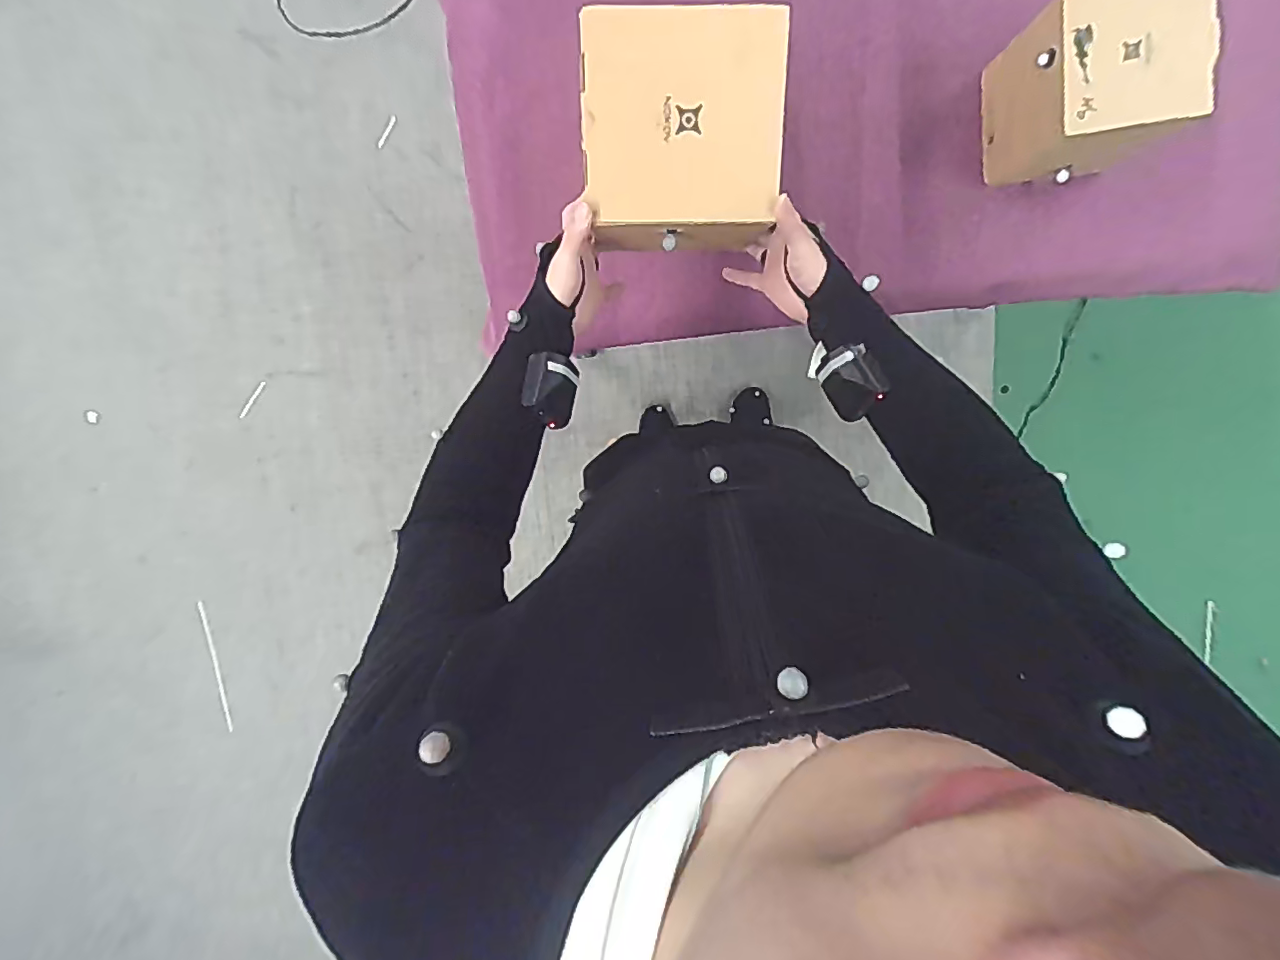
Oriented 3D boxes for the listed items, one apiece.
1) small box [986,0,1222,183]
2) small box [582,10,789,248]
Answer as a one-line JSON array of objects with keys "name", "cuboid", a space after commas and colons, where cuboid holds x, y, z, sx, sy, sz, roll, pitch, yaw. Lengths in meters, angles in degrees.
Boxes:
[{"name": "small box", "cuboid": [0.598, -0.520, 0.717, 0.179, 0.176, 0.168, -6, 98, 4]}, {"name": "small box", "cuboid": [0.040, -0.336, 0.550, 0.179, 0.176, 0.168, 0, 106, 2]}]
